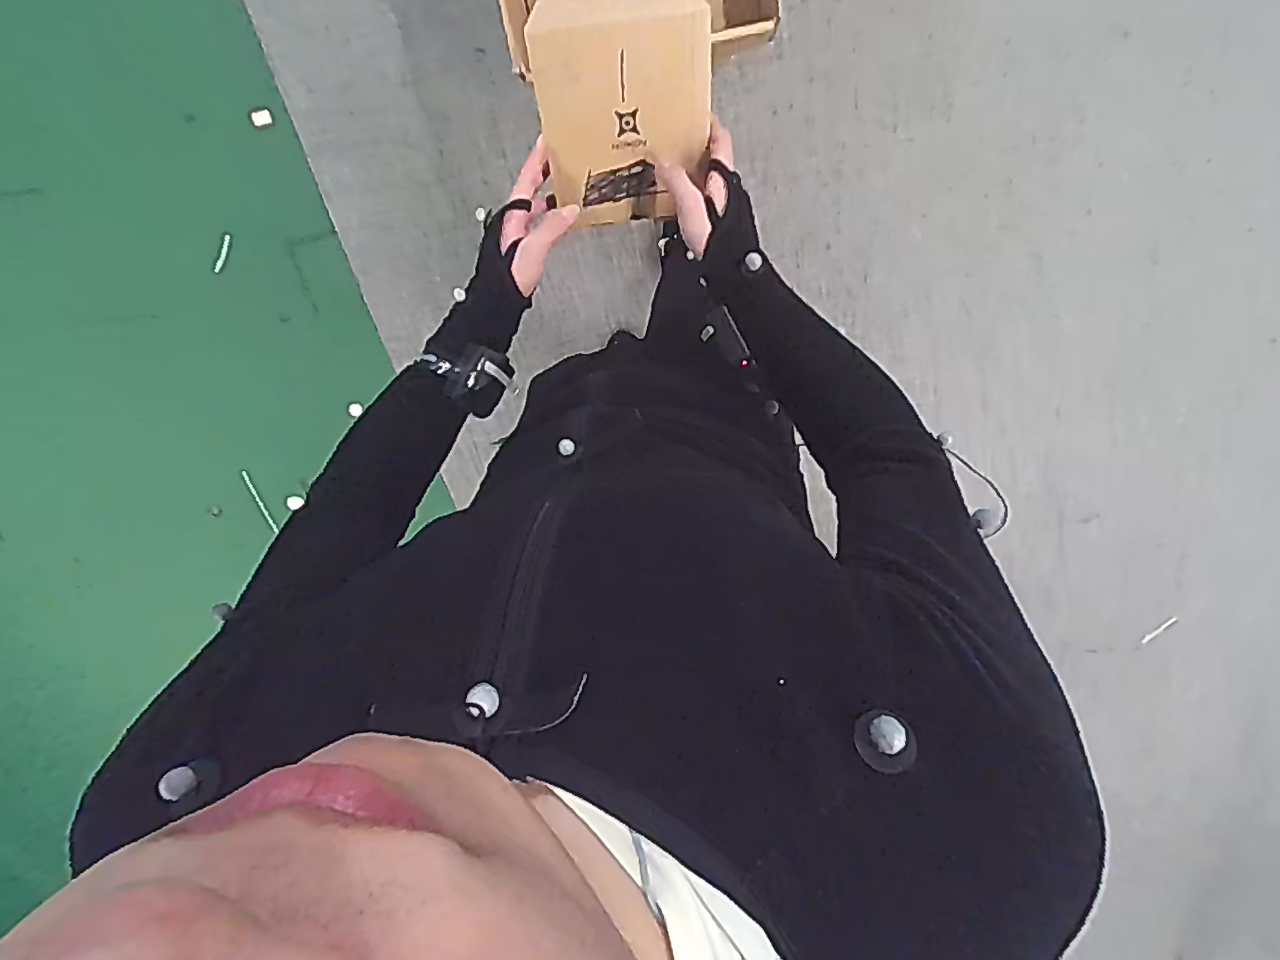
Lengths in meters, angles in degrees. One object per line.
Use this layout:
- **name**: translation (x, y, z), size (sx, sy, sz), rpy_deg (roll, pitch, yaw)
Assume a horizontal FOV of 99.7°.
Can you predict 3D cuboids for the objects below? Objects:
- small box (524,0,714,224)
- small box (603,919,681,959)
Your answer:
- **small box**: translation (-0.015, -0.401, 0.572), size (0.168, 0.176, 0.179), rpy_deg (-6, 139, 2)
- **small box**: translation (0.006, 1.299, 1.418), size (0.179, 0.176, 0.168), rpy_deg (-16, 113, 10)
